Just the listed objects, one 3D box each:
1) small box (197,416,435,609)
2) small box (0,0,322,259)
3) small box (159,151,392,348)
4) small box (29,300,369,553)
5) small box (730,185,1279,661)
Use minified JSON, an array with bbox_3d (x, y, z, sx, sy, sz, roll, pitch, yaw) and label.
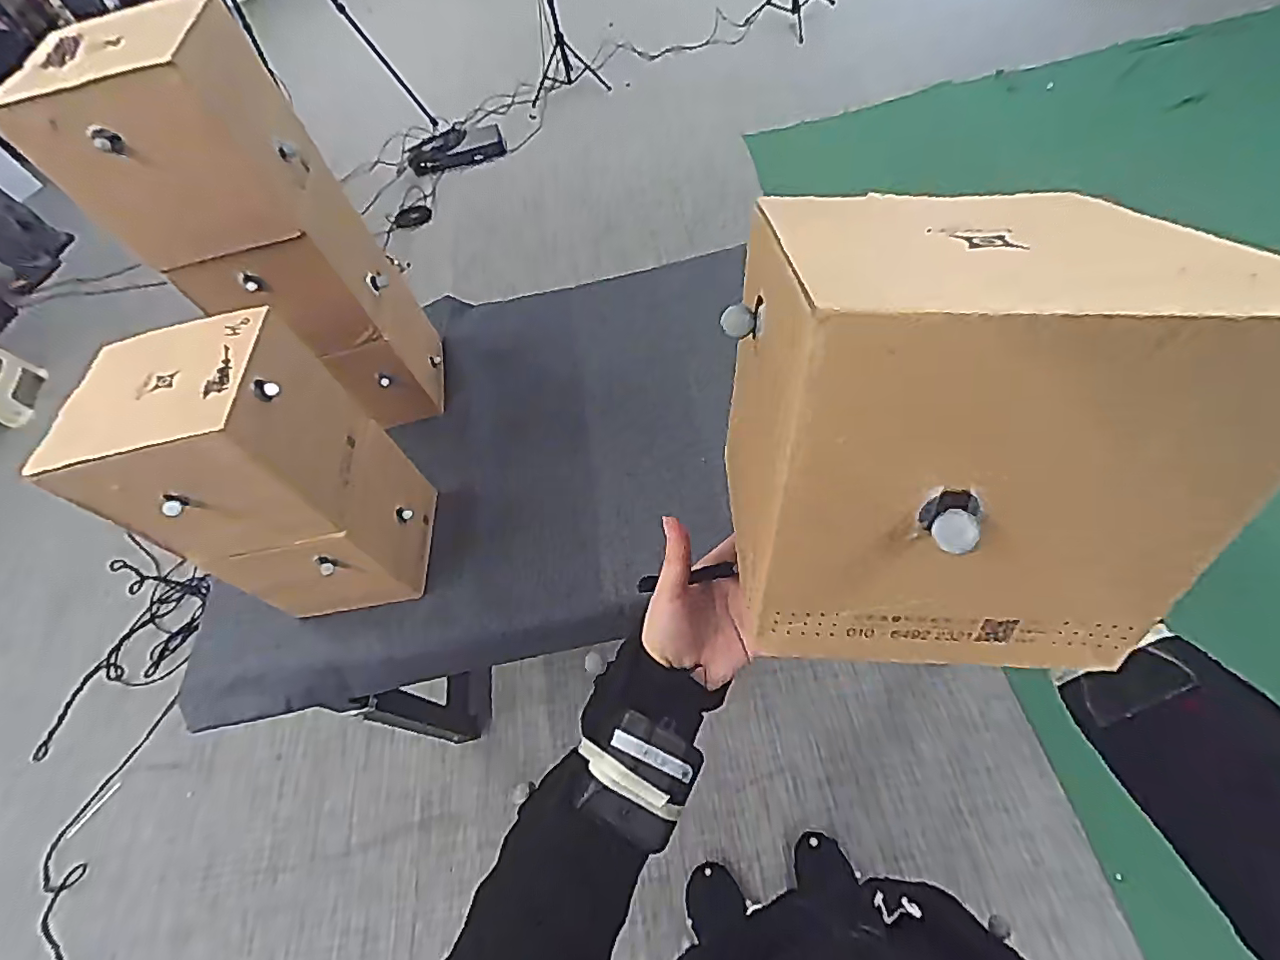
[{"bbox_3d":[-0.380,0.047,0.676,0.179,0.176,0.168,-10,55,5],"label":"small box"},{"bbox_3d":[-0.472,-0.357,0.558,0.179,0.176,0.168,-13,60,2],"label":"small box"},{"bbox_3d":[-0.452,-0.282,0.703,0.179,0.176,0.168,-14,60,0],"label":"small box"},{"bbox_3d":[-0.411,-0.044,0.544,0.179,0.176,0.168,-14,56,3],"label":"small box"},{"bbox_3d":[0.137,-0.032,0.263,0.168,0.176,0.179,0,37,3],"label":"small box"}]
